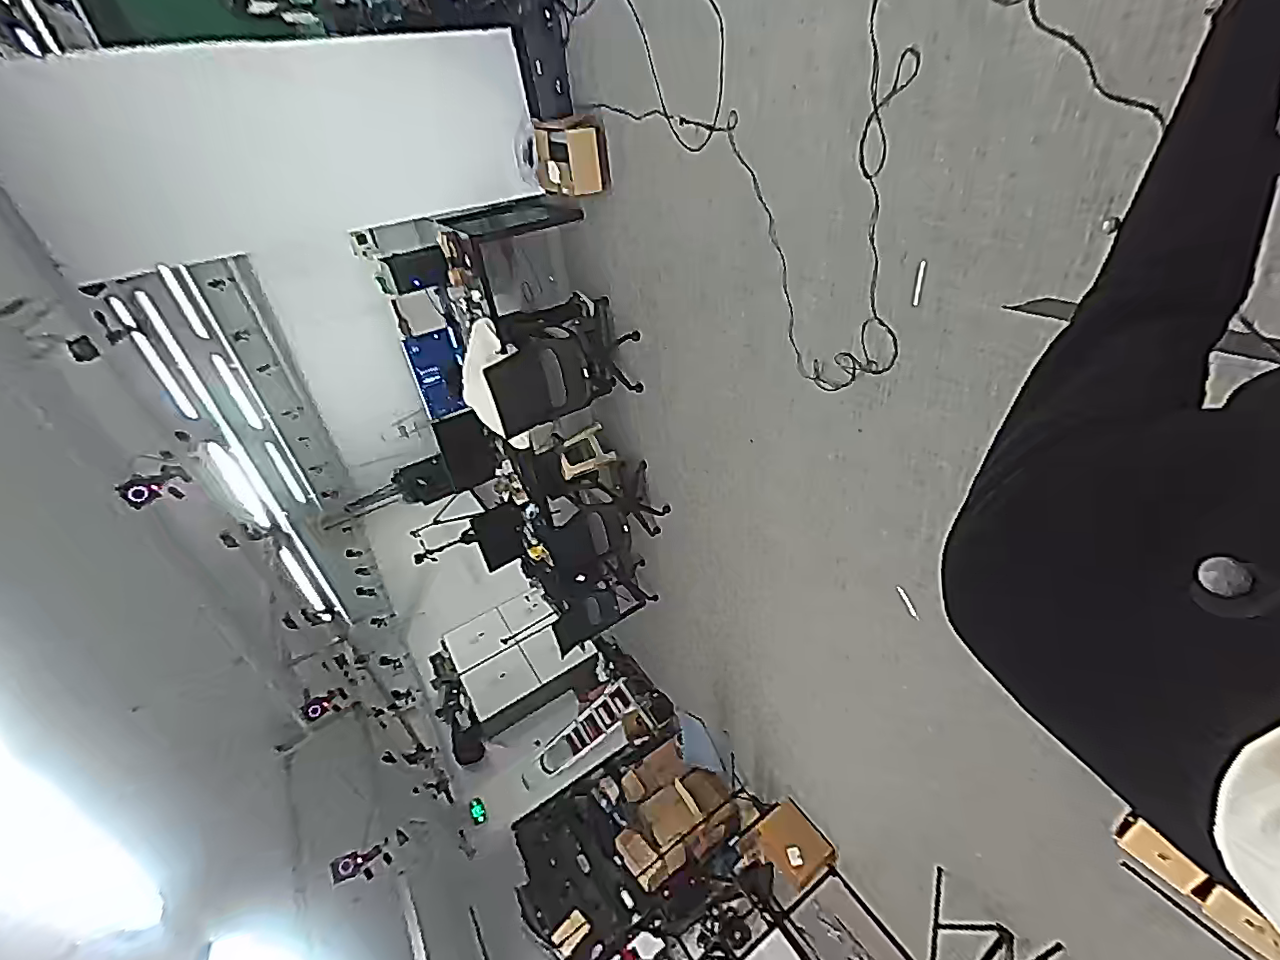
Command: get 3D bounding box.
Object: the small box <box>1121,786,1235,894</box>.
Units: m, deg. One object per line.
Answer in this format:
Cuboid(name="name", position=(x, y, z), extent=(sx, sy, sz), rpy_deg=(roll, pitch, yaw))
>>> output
Cuboid(name="small box", position=(1.584, 1.055, 1.593), extent=(0.168, 0.176, 0.179), rpy_deg=(37, 142, 46))
